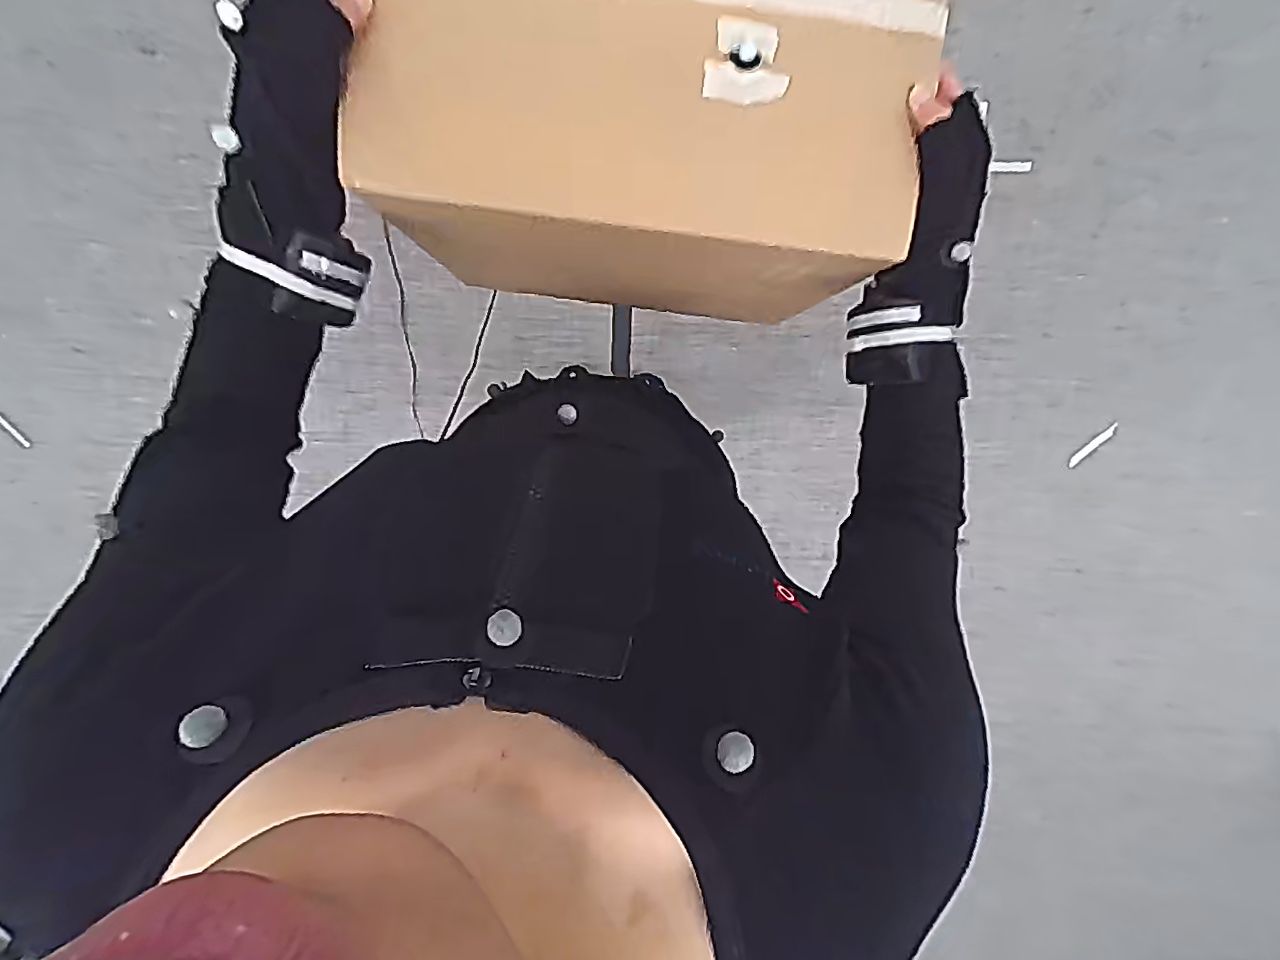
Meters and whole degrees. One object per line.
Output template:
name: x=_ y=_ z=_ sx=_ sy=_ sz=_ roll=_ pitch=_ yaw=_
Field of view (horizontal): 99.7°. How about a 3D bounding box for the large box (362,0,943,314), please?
large box: x=0.007 y=-0.362 z=0.519 sx=0.408 sy=0.320 sz=0.320 roll=6 pitch=97 yaw=-4
